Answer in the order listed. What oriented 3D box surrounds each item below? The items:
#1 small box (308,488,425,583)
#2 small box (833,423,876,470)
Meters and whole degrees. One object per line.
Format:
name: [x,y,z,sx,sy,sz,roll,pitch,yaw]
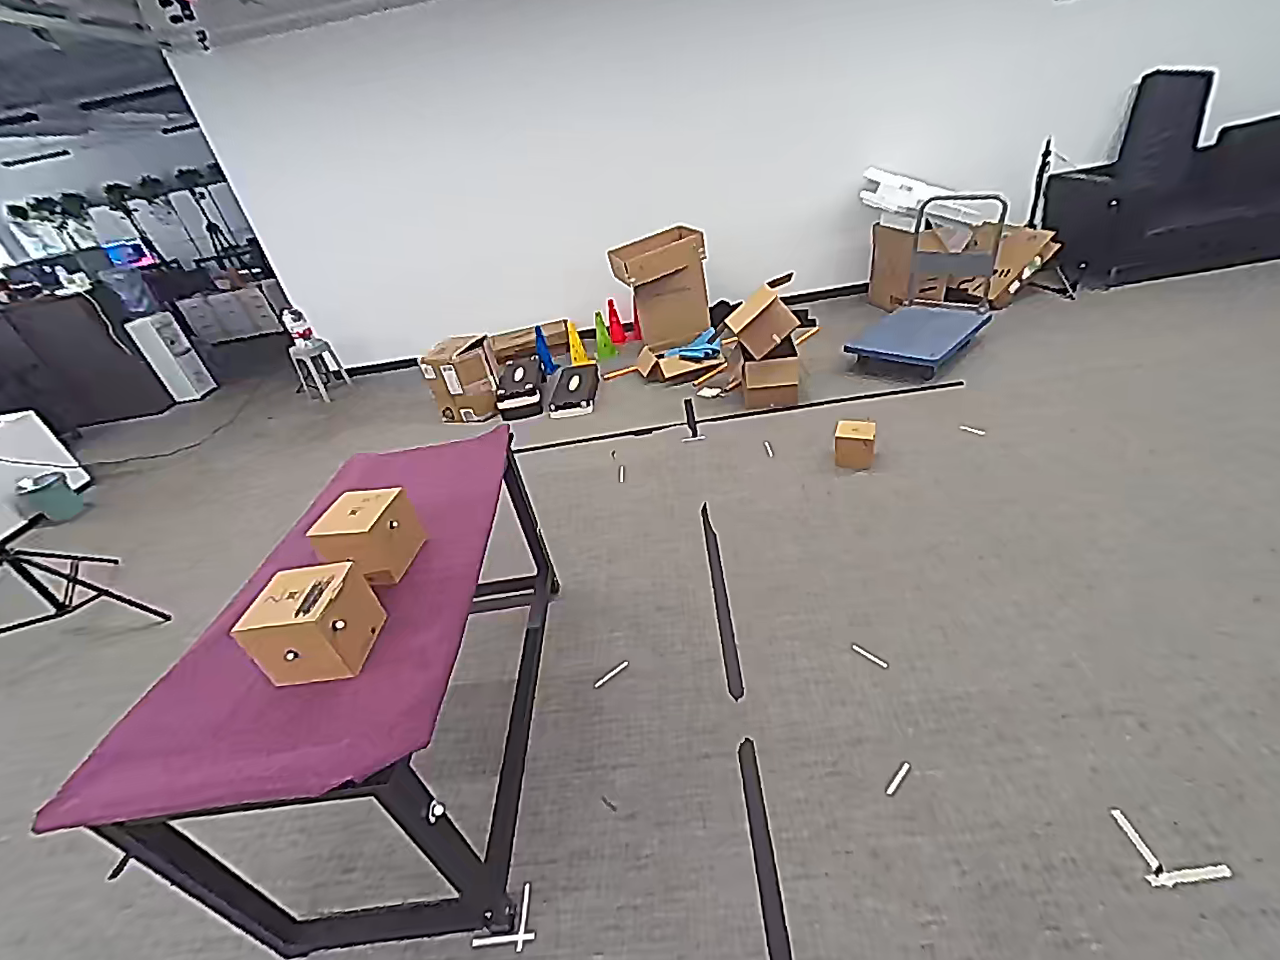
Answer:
small box: [-0.666,0.142,1.344,0.168,0.176,0.179,-4,33,10]
small box: [1.057,-0.165,2.667,0.179,0.176,0.168,7,36,25]
